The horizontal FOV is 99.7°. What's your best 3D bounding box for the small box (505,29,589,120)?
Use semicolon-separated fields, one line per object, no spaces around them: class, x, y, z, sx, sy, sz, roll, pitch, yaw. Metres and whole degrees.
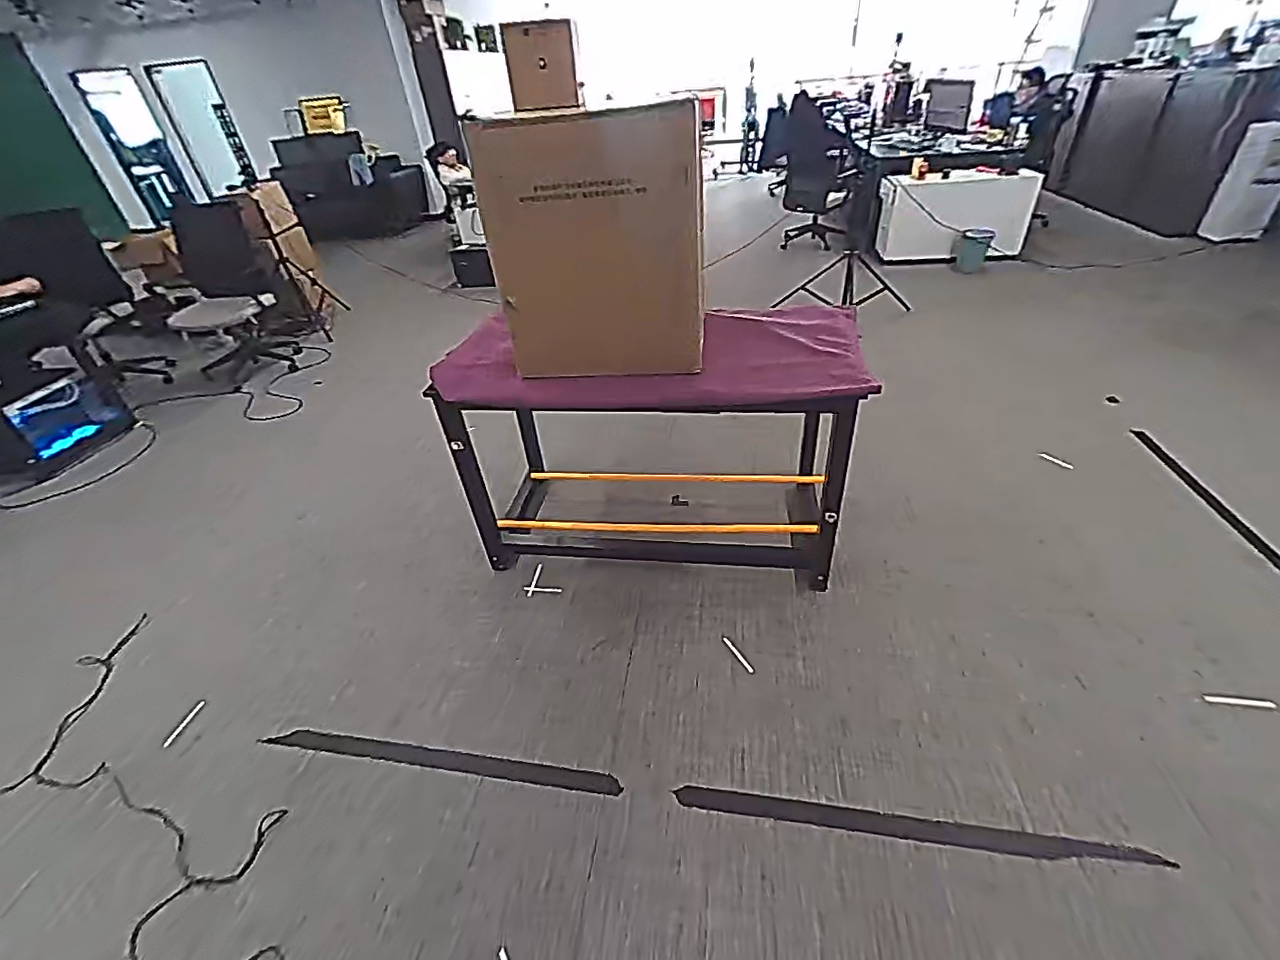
small box;-0.226;-1.005;1.341;0.168;0.176;0.179;-2;37;3
